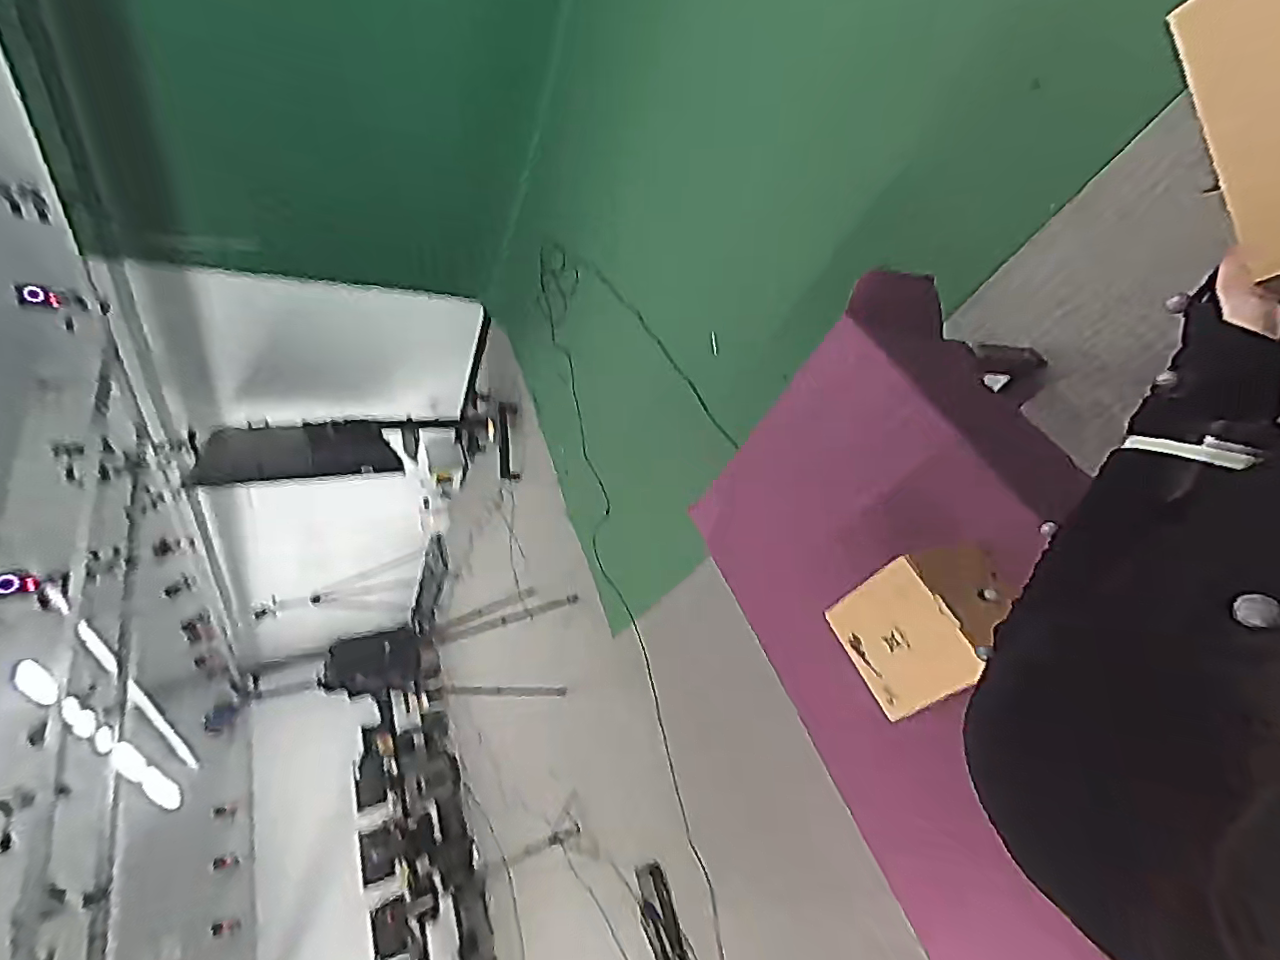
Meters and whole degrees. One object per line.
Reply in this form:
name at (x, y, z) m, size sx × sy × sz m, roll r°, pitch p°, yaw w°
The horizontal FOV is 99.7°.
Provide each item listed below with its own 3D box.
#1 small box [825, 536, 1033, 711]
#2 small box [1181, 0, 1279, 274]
small box at (0.412, 0.196, 0.770) m, size 0.168 × 0.176 × 0.179 m, roll 63°, pitch 141°, yaw 29°
small box at (0.433, -0.219, 0.278) m, size 0.179 × 0.176 × 0.168 m, roll -16°, pitch 84°, yaw 54°
